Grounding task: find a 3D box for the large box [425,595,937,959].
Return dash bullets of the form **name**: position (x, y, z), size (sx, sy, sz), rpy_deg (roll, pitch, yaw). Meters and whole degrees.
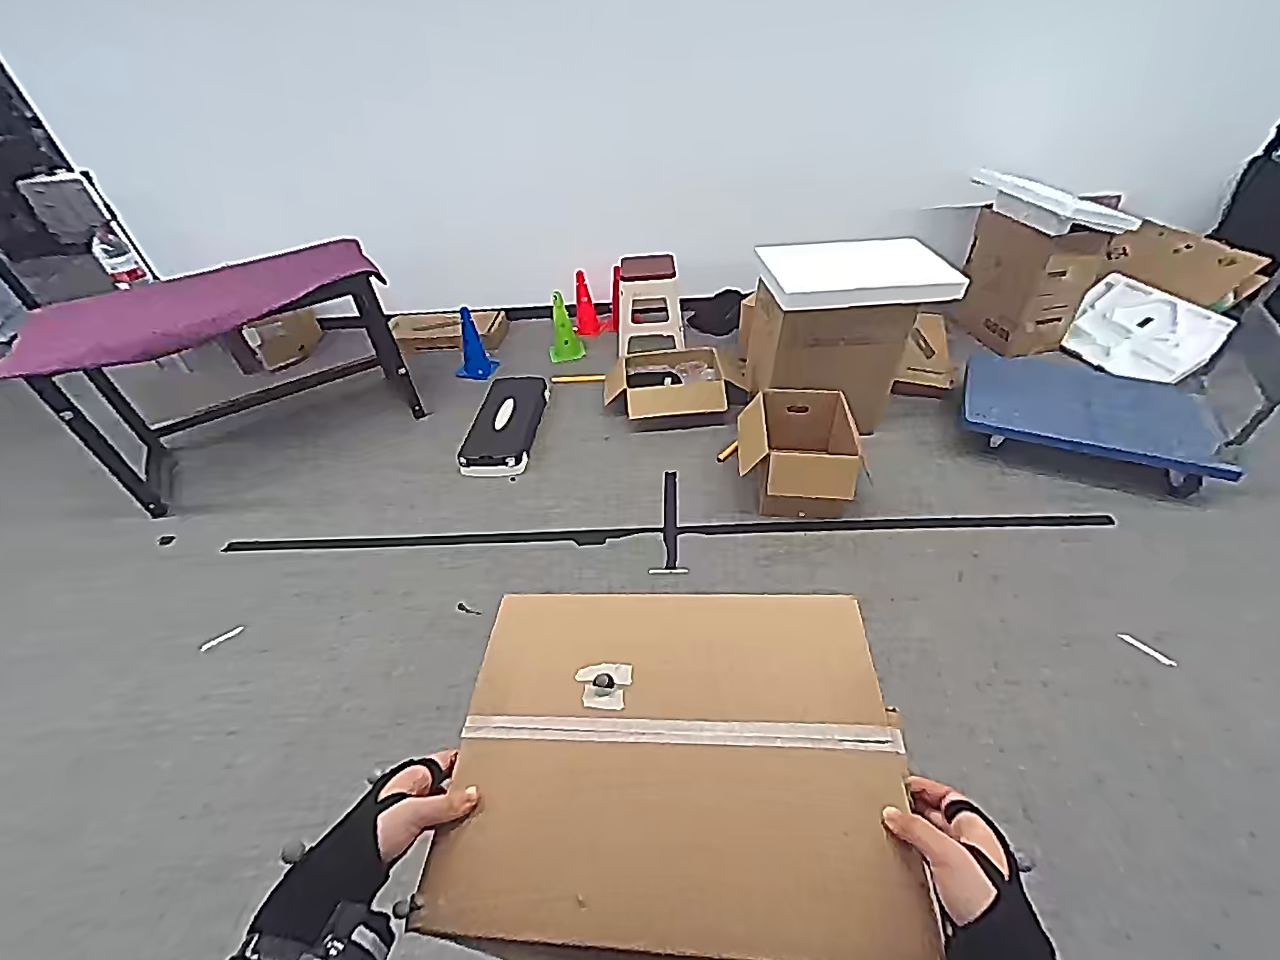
- **large box**: position (0.050, 0.354, 0.621), size (0.408, 0.320, 0.320), rpy_deg (-3, 42, 8)
